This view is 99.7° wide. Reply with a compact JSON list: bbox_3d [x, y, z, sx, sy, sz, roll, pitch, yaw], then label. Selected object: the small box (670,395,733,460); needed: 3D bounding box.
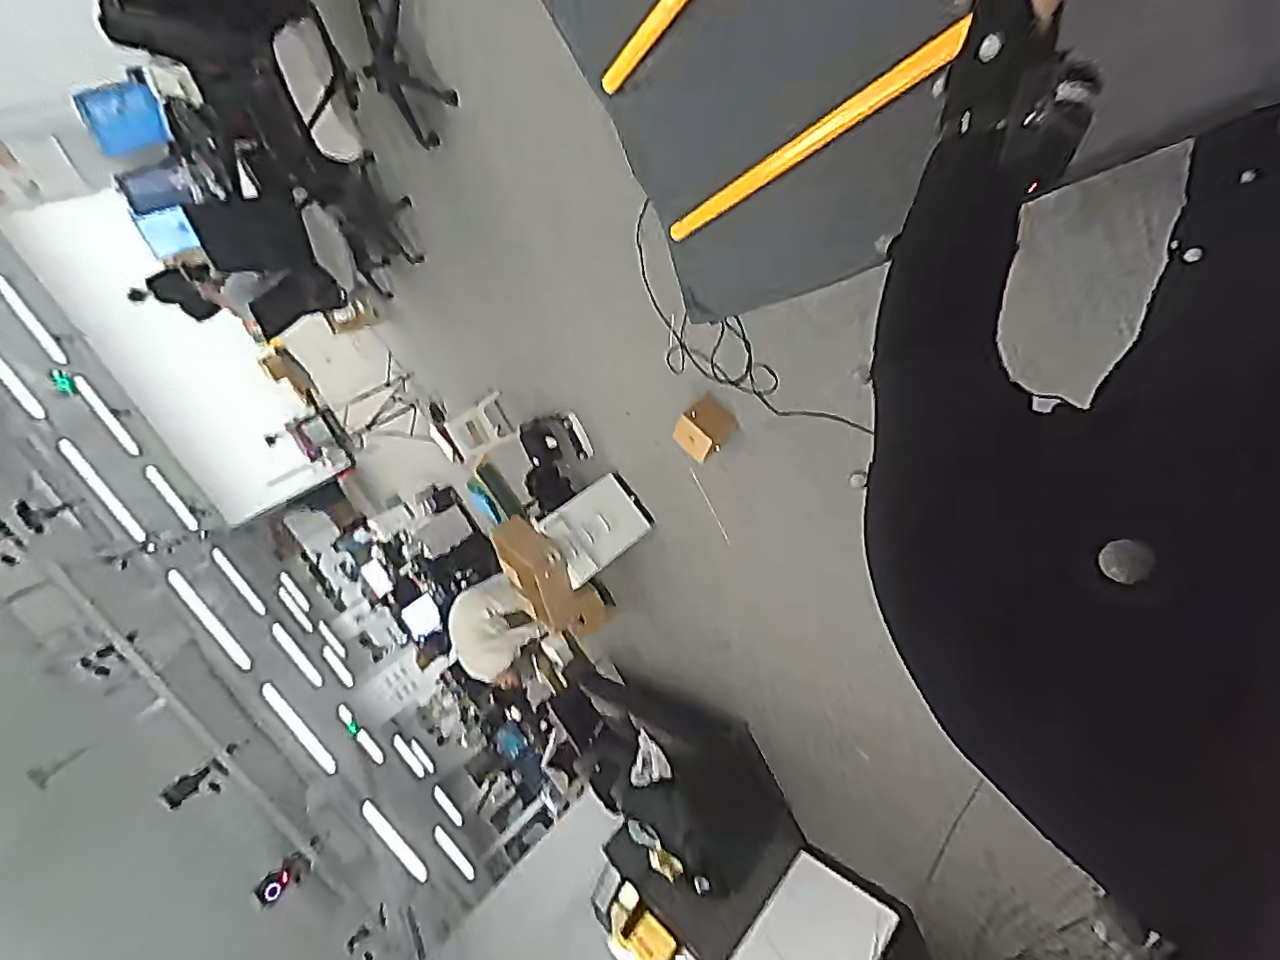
[{"bbox_3d":[0.256,-0.223,2.235,0.179,0.176,0.168,44,150,16],"label":"small box"}]
